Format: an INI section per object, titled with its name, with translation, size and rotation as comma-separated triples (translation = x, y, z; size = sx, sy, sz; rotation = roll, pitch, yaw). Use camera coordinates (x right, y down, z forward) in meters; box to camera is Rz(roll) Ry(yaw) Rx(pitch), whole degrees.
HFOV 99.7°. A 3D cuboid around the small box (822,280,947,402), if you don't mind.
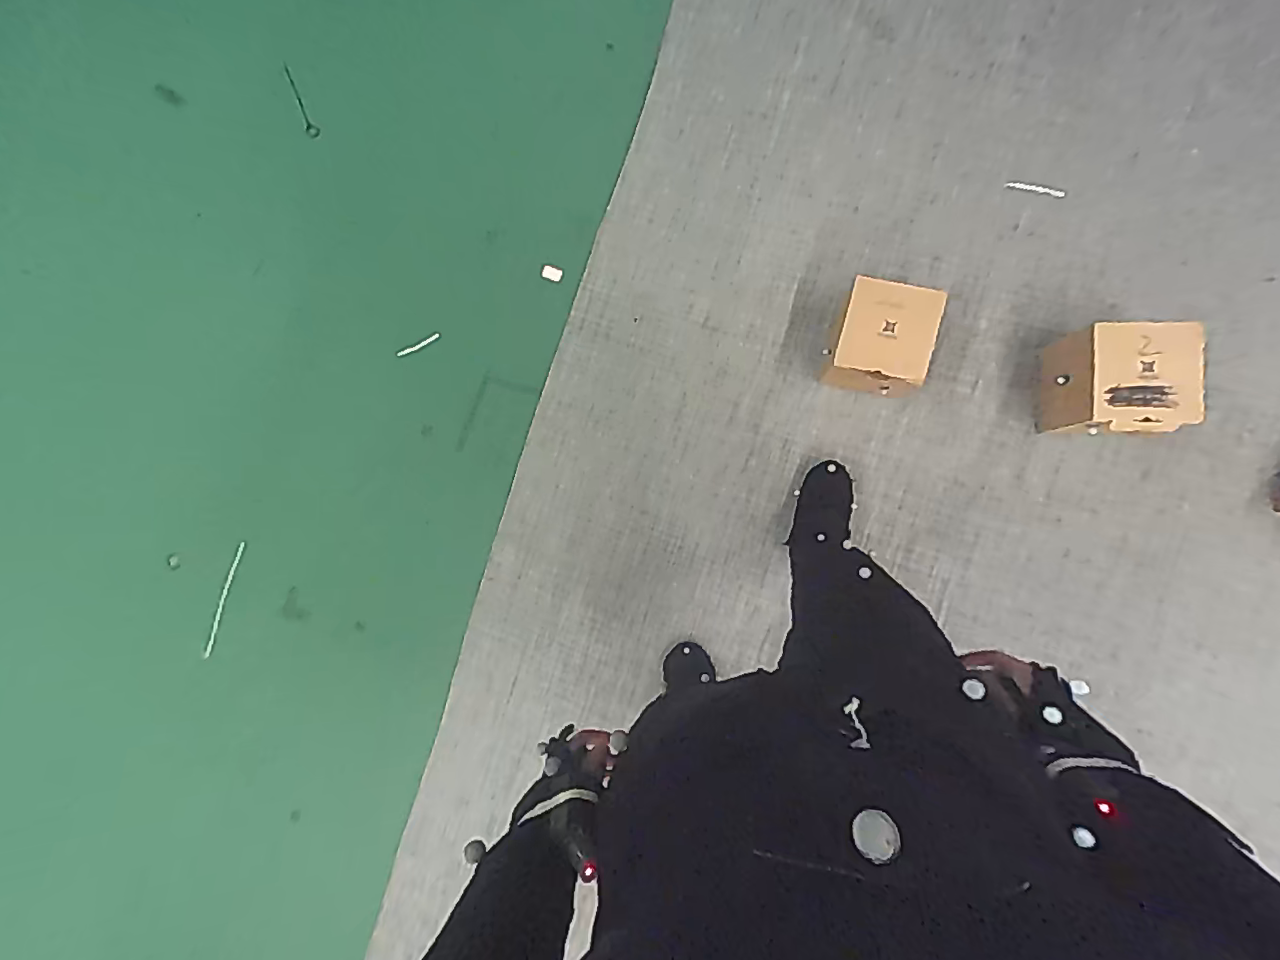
[small box]
translation = 0.470, -0.265, 1.071
size = 0.168, 0.176, 0.179
rotation = 15, 89, 9
